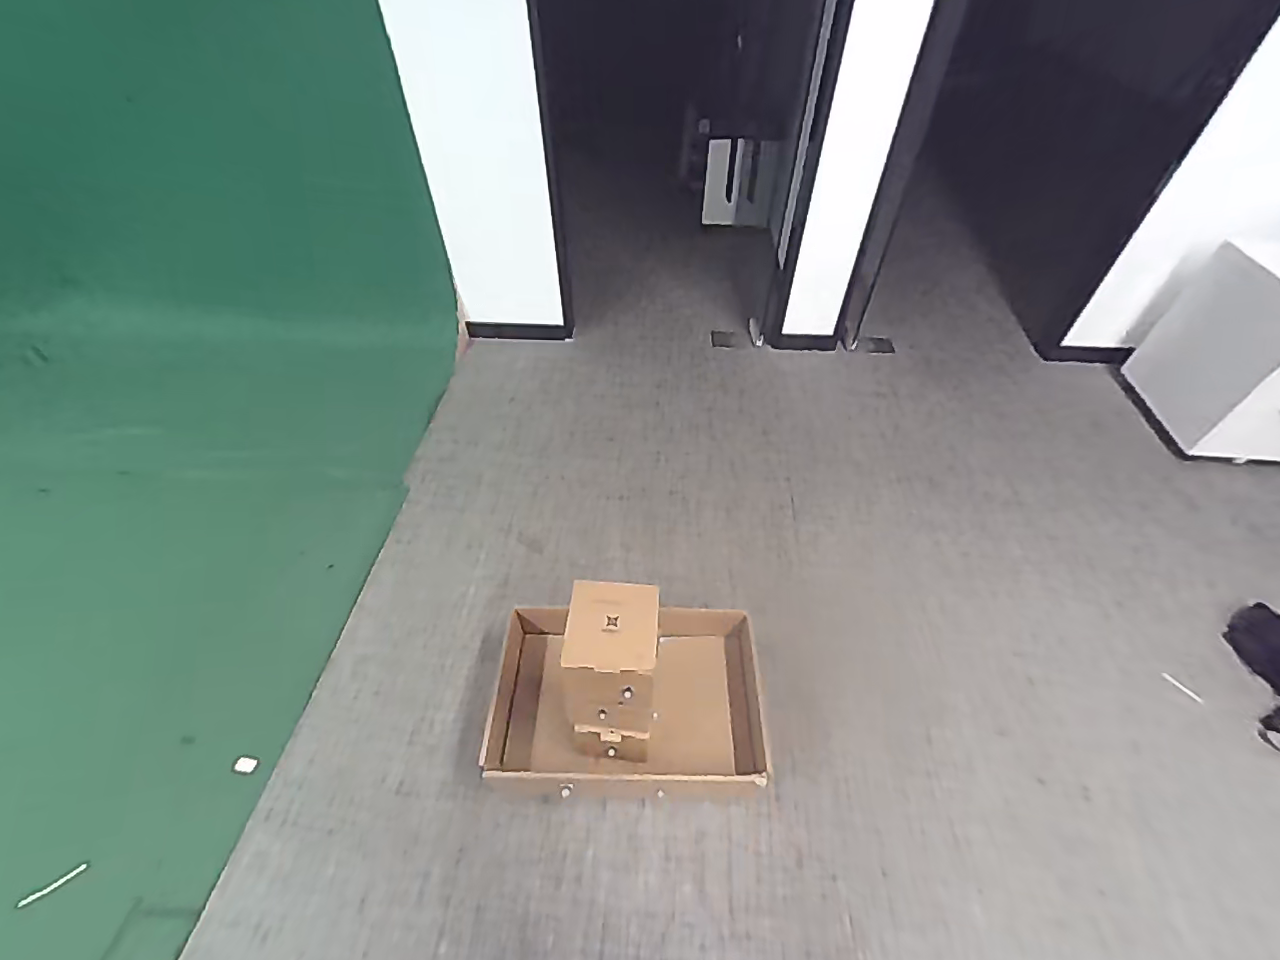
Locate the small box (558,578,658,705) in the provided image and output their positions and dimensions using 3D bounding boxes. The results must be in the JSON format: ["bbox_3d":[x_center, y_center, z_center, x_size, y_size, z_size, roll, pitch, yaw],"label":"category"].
[{"bbox_3d":[-0.056,0.312,1.034,0.168,0.176,0.179,5,46,1],"label":"small box"}]

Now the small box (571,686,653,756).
[{"bbox_3d":[-0.058,0.532,1.275,0.168,0.176,0.179,6,49,4],"label":"small box"}]

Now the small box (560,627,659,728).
[{"bbox_3d":[-0.058,0.414,1.160,0.179,0.176,0.168,7,47,7],"label":"small box"}]
